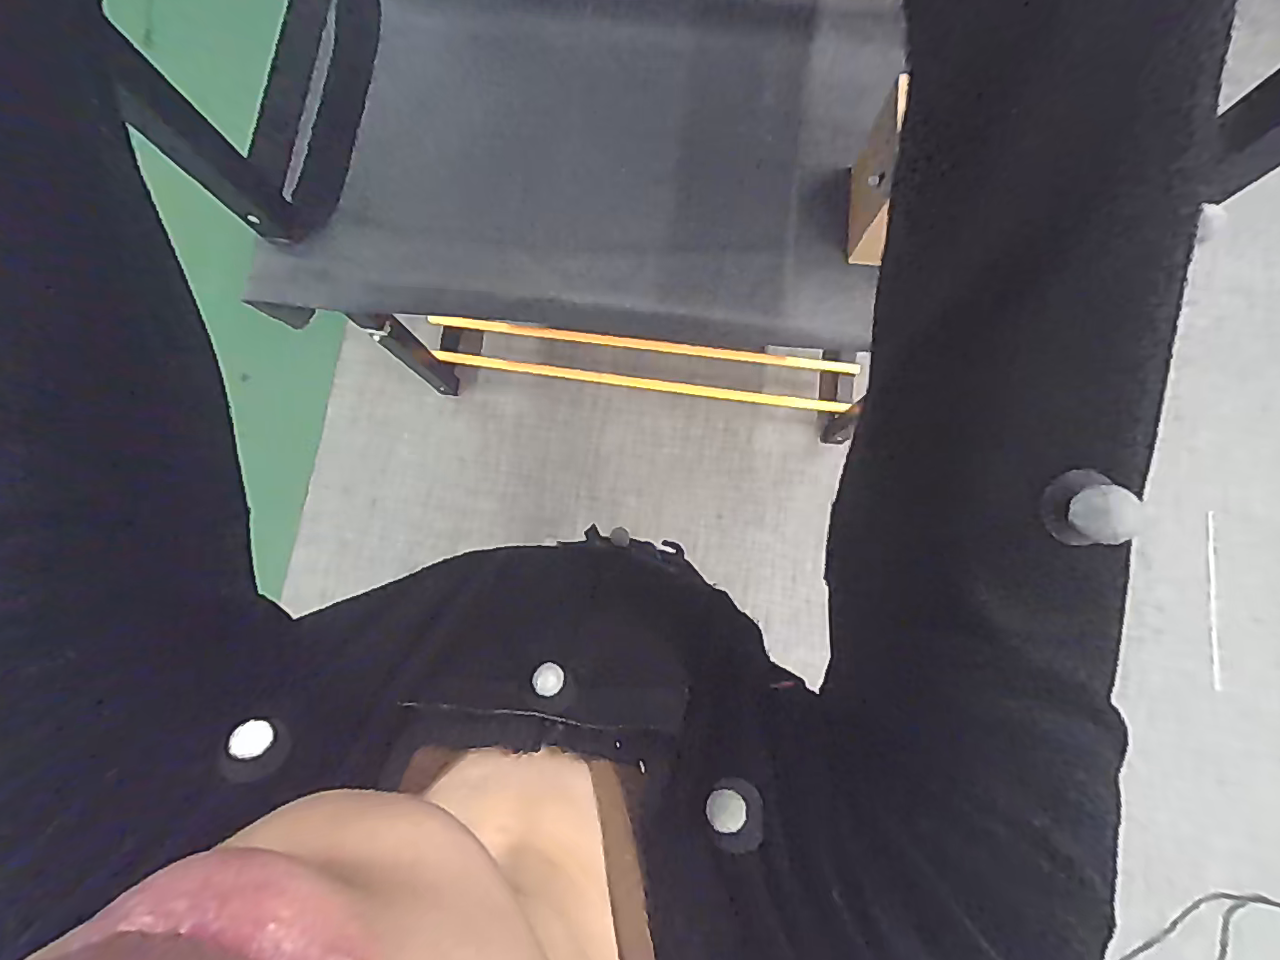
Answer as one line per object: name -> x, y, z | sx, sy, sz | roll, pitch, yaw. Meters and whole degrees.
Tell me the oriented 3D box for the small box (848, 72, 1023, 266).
small box -> 0.411, -0.433, 0.777 | 0.168, 0.176, 0.179 | 6, 80, 1
